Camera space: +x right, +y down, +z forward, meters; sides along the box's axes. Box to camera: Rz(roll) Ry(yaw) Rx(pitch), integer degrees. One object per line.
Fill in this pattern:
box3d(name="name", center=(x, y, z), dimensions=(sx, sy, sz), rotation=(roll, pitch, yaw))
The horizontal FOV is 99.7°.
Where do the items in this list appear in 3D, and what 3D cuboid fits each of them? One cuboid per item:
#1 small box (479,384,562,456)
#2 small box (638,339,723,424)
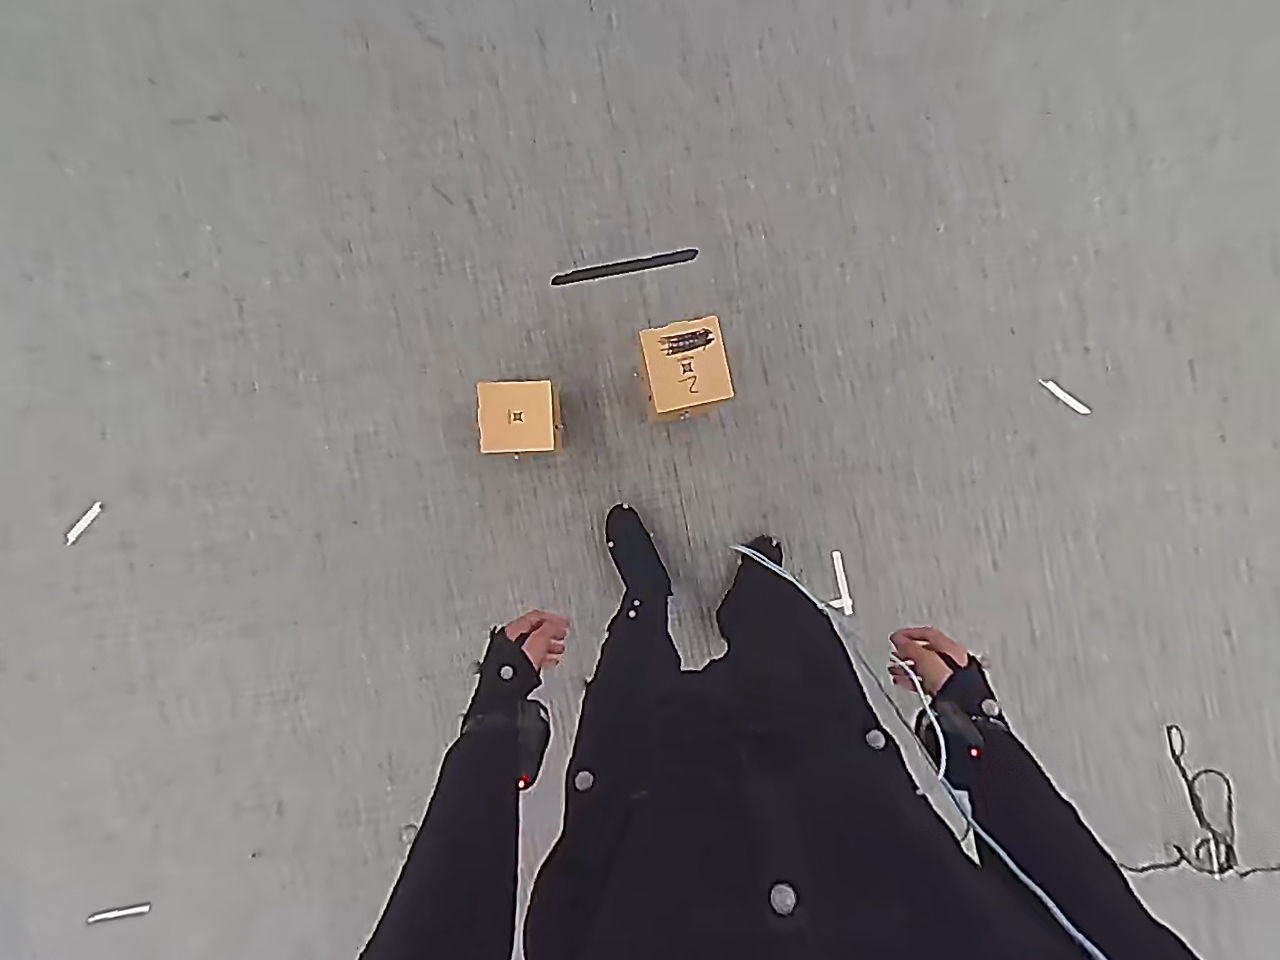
box3d(name="small box", center=(-0.291, -0.146, 1.348), dimensions=(0.179, 0.176, 0.168), rotation=(-3, 91, -1))
box3d(name="small box", center=(0.095, -0.239, 1.356), dimensions=(0.179, 0.176, 0.168), rotation=(-12, 91, -2))
